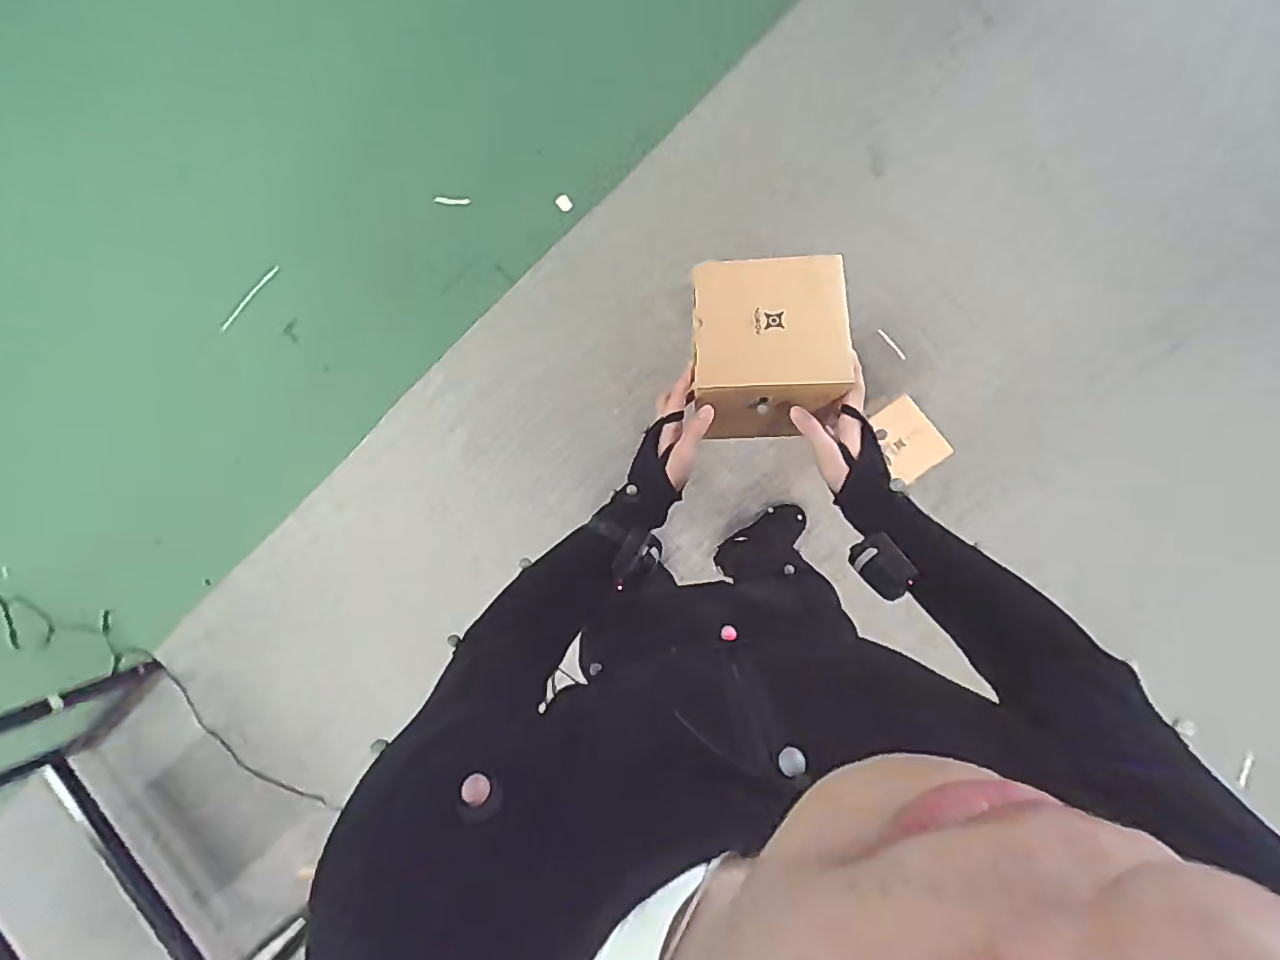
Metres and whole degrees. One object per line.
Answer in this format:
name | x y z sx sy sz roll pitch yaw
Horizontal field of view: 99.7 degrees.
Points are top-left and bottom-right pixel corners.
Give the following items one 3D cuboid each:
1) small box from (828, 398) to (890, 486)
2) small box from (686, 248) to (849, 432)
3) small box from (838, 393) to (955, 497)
small box | 0.619 -0.090 1.423 0.168 0.176 0.179 -39 85 11
small box | 0.150 -0.167 0.691 0.179 0.176 0.168 -3 74 7
small box | 0.584 -0.078 1.264 0.179 0.176 0.168 -38 85 11
